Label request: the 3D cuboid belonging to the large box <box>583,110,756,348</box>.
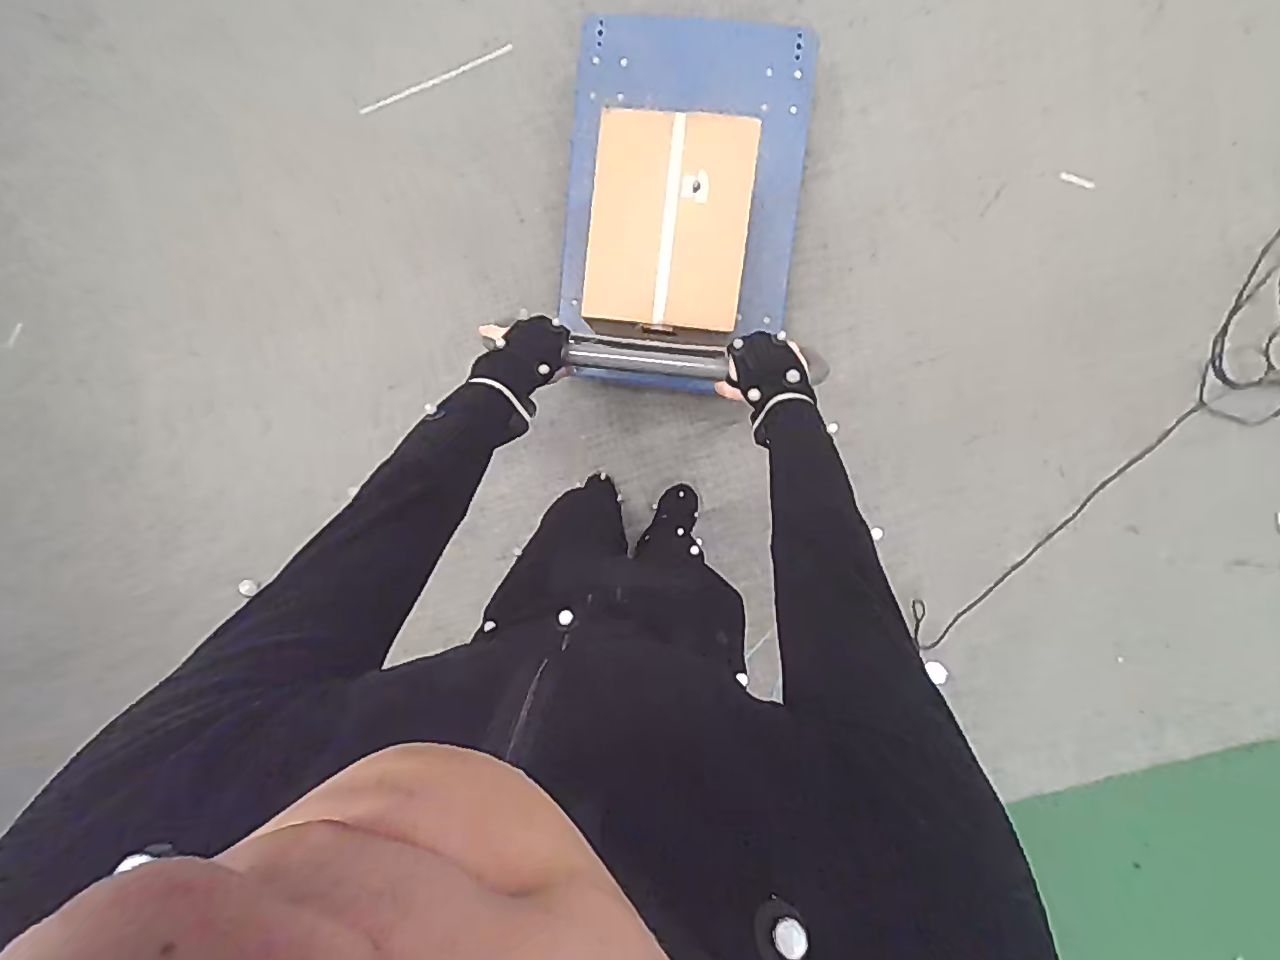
[{"bbox_3d":[0.067,-0.535,1.230,0.320,0.320,0.408,8,96,3],"label":"large box"}]
